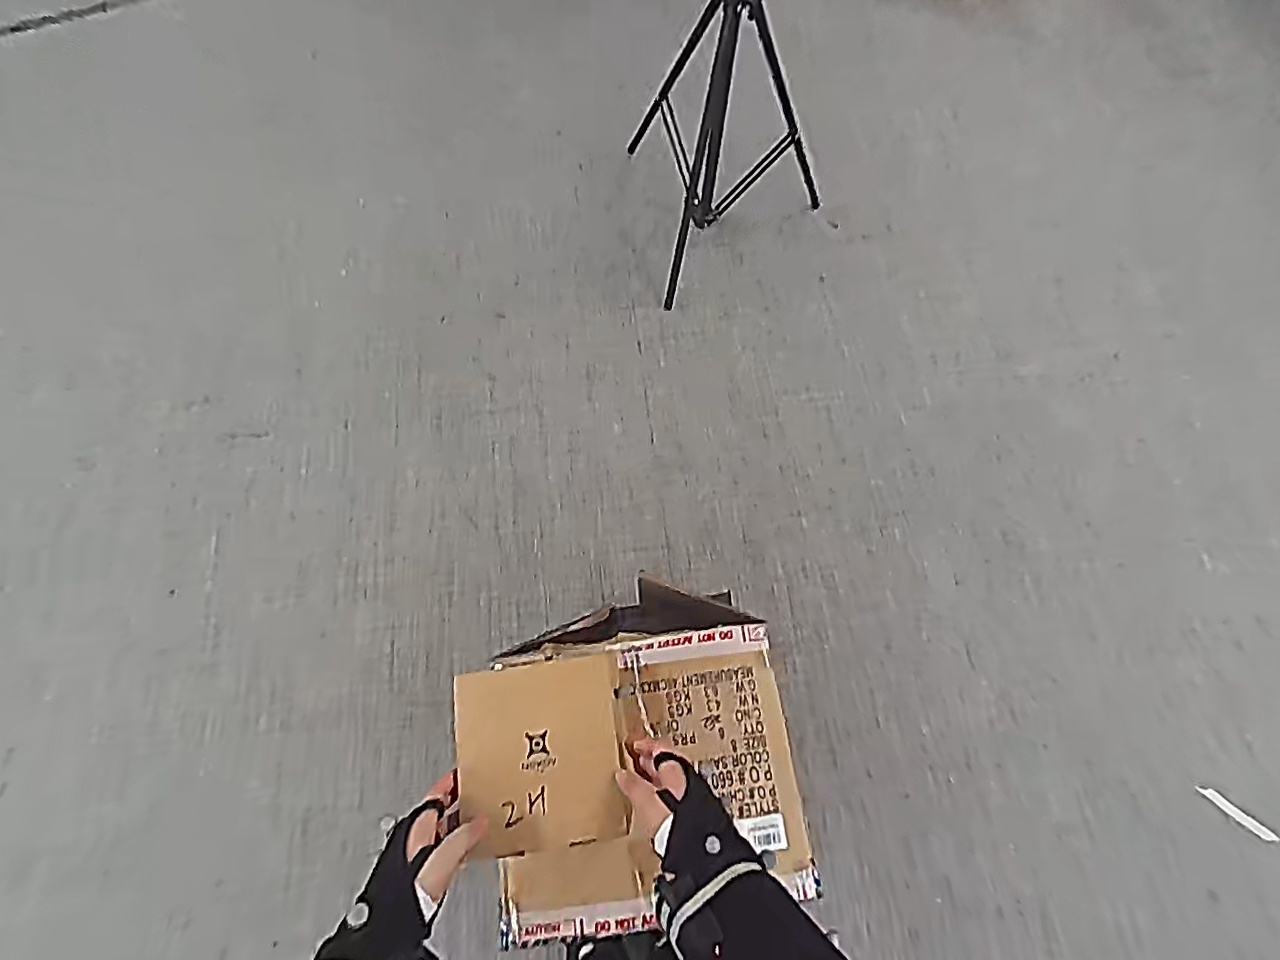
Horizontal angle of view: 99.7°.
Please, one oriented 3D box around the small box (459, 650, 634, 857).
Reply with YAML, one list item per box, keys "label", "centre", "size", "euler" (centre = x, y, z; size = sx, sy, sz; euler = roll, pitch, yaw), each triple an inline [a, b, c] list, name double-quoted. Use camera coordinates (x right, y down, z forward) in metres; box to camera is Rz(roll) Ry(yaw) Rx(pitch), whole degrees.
- label: "small box"
  centre: [-0.100, 0.301, 0.634]
  size: [0.168, 0.176, 0.179]
  euler: [-9, 74, -1]
